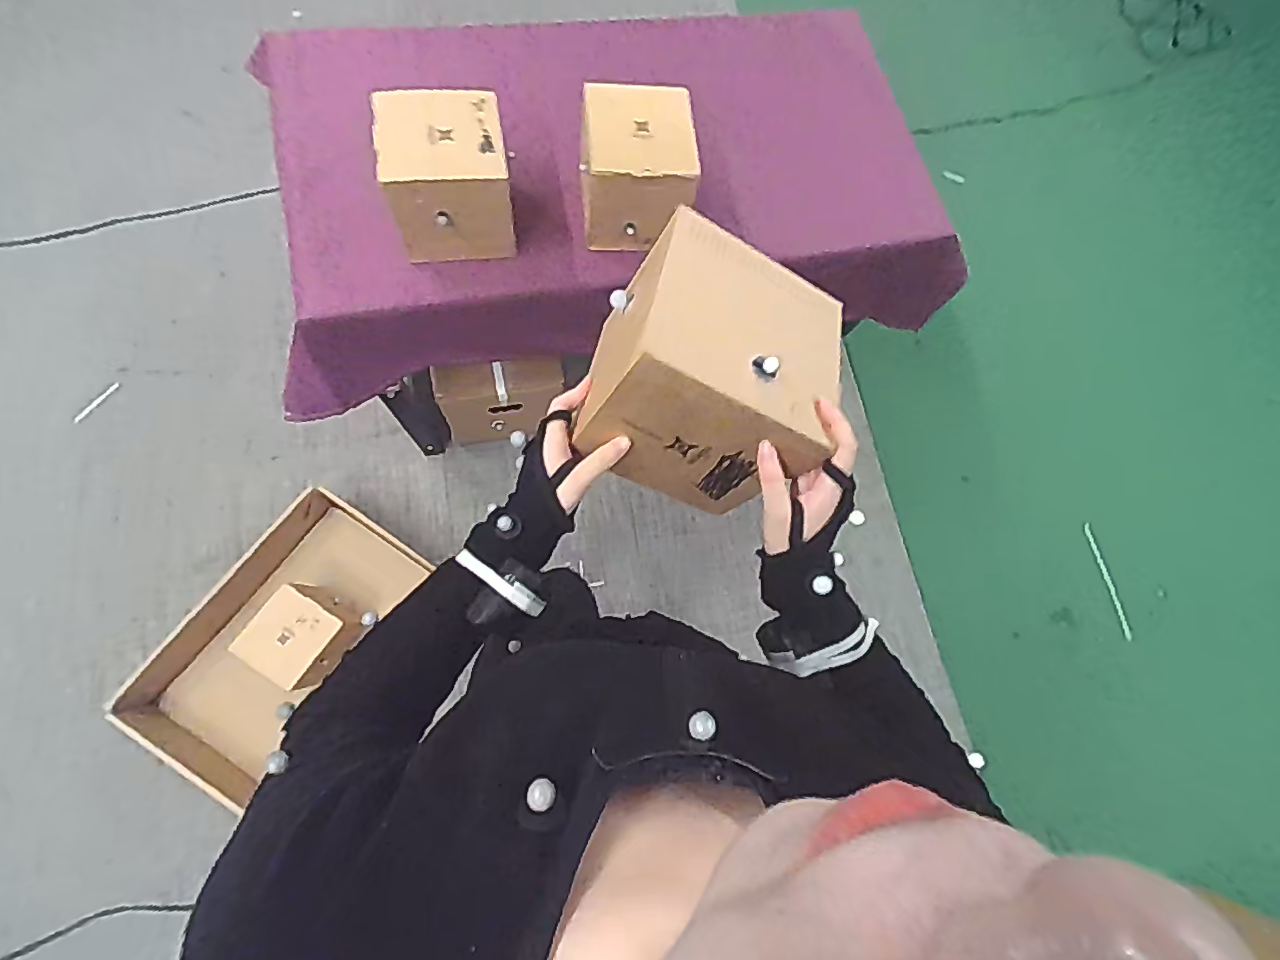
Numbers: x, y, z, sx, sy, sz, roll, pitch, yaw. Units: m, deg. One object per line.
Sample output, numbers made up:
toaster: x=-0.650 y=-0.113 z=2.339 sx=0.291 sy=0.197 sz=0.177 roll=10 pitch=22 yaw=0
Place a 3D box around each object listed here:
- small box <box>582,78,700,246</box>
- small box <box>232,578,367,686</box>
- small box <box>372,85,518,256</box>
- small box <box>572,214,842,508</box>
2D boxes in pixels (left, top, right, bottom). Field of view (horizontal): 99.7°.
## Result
small box: x=-0.007 y=-0.521 z=0.901 sx=0.168 sy=0.176 sz=0.179 roll=-4 pitch=76 yaw=-9
small box: x=-0.778 y=0.351 z=1.262 sx=0.168 sy=0.176 sz=0.179 roll=34 pitch=74 yaw=1
small box: x=-0.296 y=-0.474 z=0.846 sx=0.179 sy=0.176 sz=0.168 roll=-8 pitch=77 yaw=-9
small box: x=0.065 y=-0.100 z=0.495 sx=0.179 sy=0.168 sz=0.176 roll=25 pitch=59 yaw=-17
